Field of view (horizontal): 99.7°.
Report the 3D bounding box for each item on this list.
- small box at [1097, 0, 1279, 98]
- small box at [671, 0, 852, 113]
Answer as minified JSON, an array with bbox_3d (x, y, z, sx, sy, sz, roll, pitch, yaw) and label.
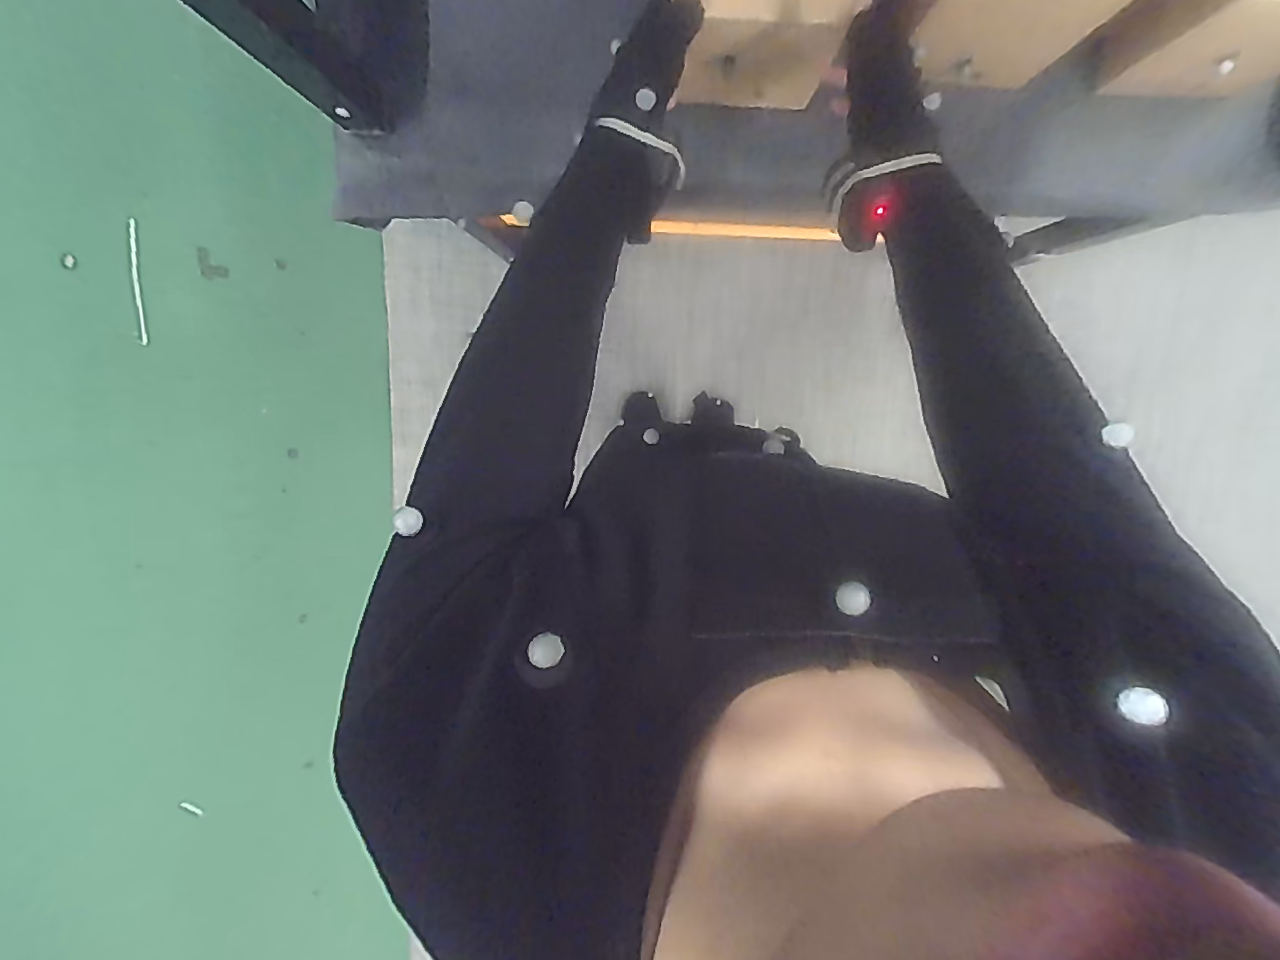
[{"bbox_3d":[0.619,-0.523,0.548,0.168,0.176,0.179,2,100,1],"label":"small box"},{"bbox_3d":[0.121,-0.517,0.563,0.168,0.176,0.179,4,100,1],"label":"small box"}]
